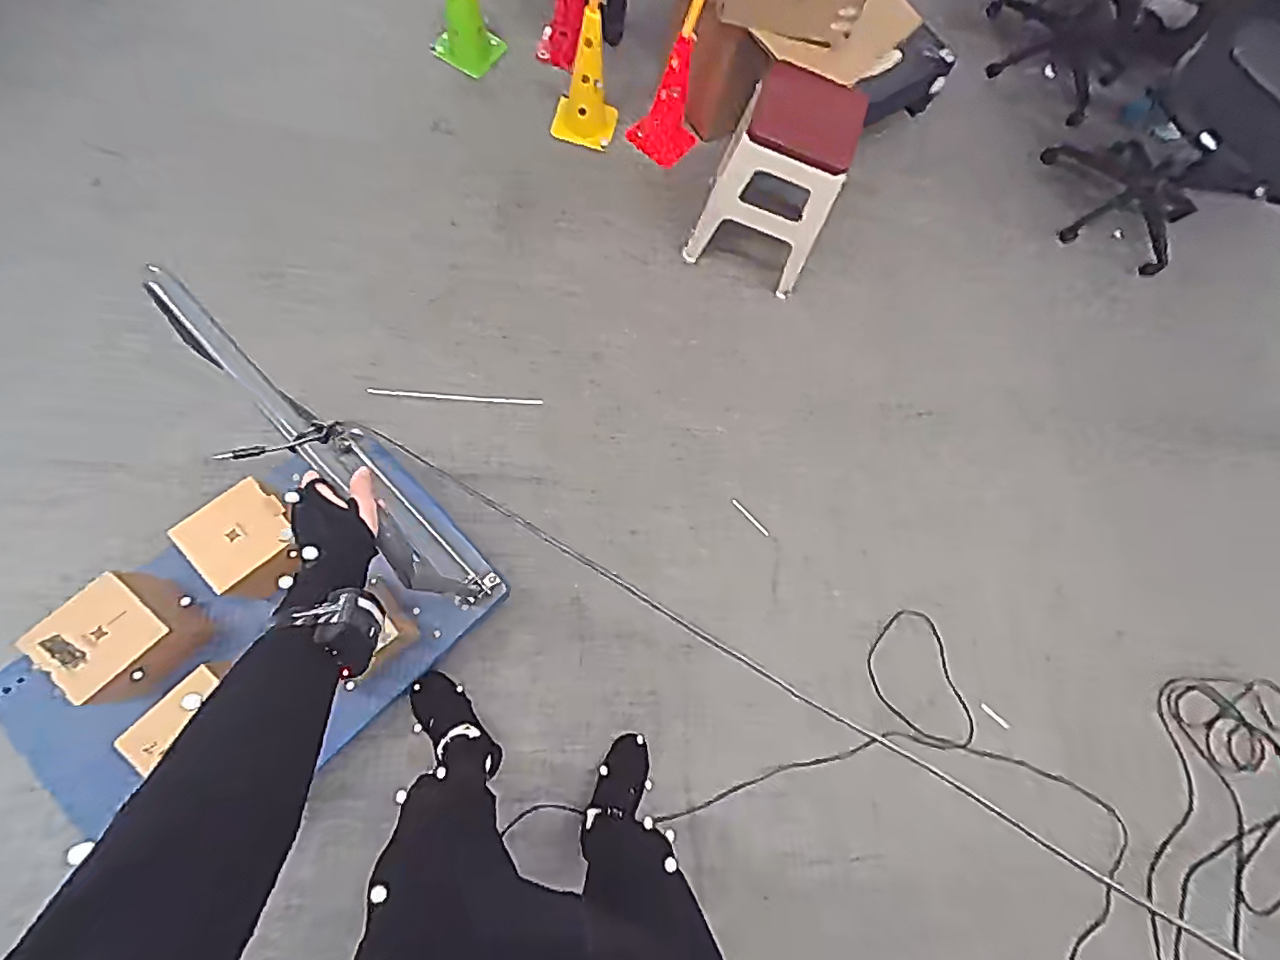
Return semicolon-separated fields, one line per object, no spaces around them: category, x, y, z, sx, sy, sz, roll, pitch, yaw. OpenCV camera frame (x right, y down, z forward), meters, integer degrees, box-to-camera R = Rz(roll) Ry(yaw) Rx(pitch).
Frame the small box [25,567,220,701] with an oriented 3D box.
small box;-0.979;0.295;1.043;0.168;0.176;0.179;43;72;4

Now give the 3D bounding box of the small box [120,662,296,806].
small box;-0.795;0.464;1.025;0.168;0.176;0.179;43;72;5

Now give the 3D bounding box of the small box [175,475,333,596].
small box;-0.787;0.123;1.125;0.179;0.176;0.168;-41;84;-18
